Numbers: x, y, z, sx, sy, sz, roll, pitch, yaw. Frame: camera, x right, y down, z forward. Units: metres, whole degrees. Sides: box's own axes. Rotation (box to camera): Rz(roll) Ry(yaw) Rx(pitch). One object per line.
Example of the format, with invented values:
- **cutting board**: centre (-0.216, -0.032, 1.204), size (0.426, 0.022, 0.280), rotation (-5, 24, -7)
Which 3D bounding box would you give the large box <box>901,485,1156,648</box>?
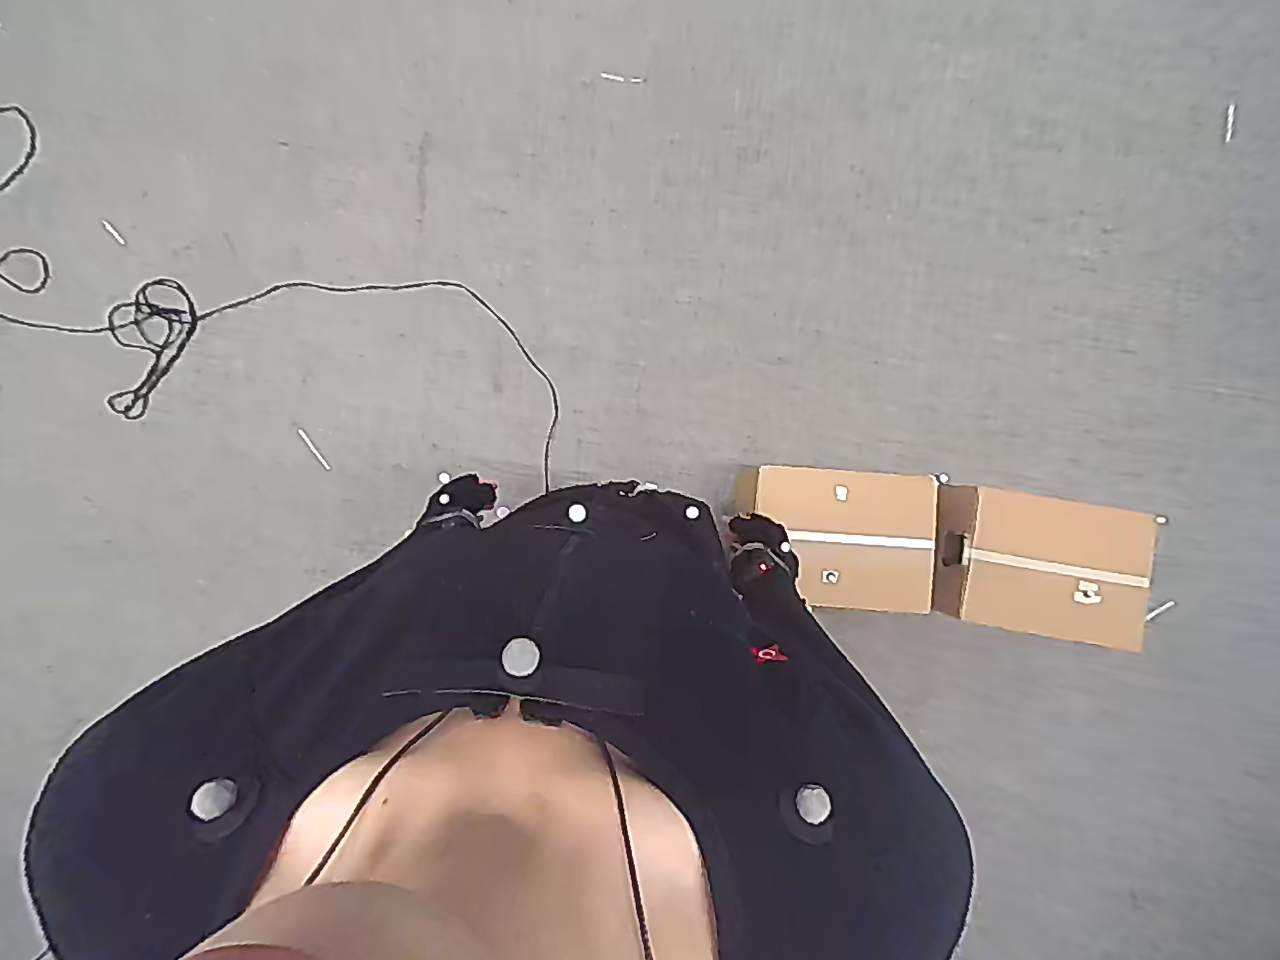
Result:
- **large box**: centre (0.930, 0.198, 1.345), size (0.408, 0.320, 0.320), rotation (10, 88, 0)
